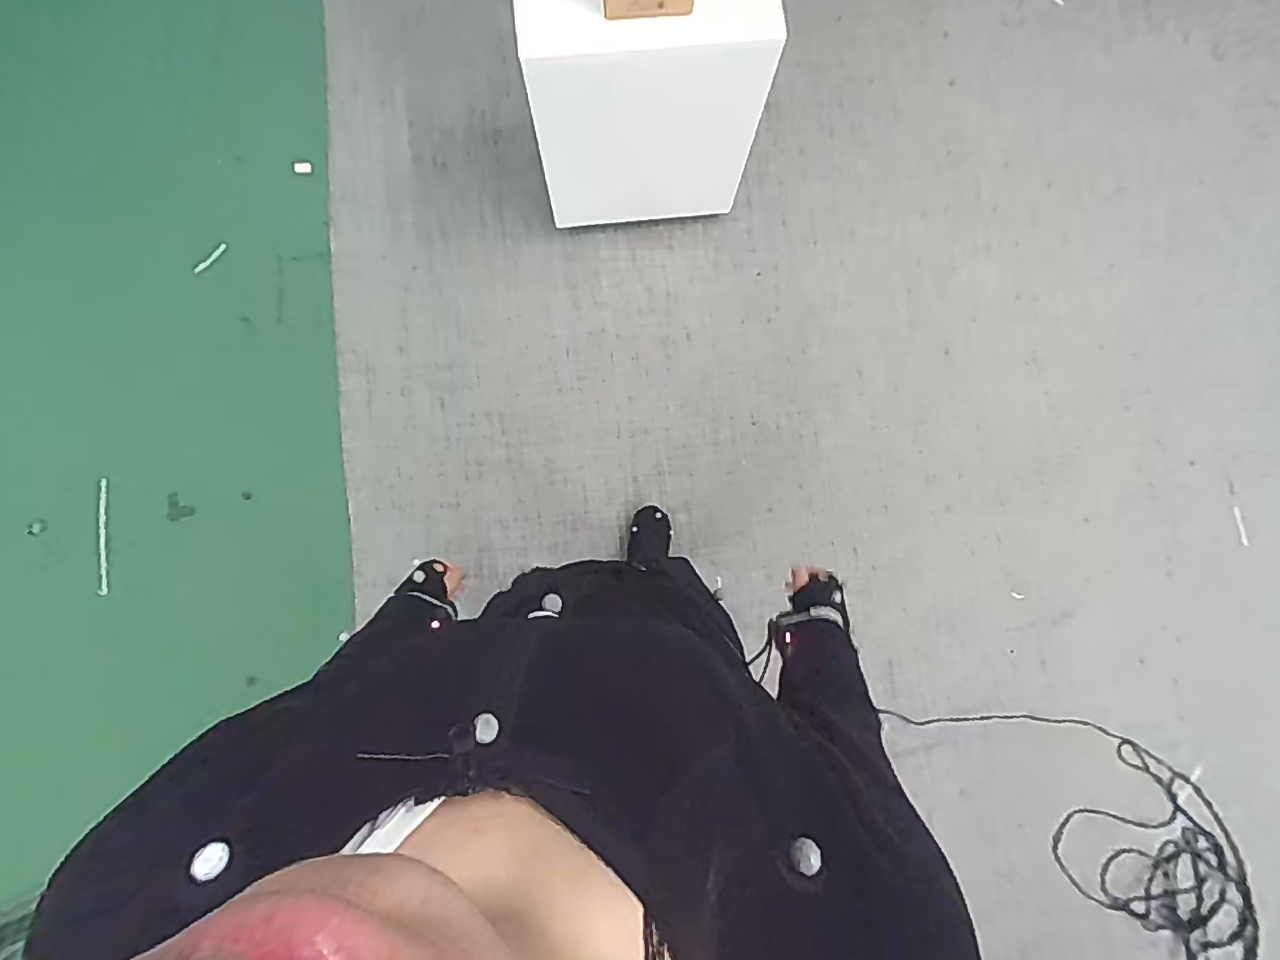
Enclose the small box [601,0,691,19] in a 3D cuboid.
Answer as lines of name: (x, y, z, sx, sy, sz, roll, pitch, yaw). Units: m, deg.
small box: (0.006, -0.954, 0.934, 0.168, 0.176, 0.179, -6, 83, -3)
